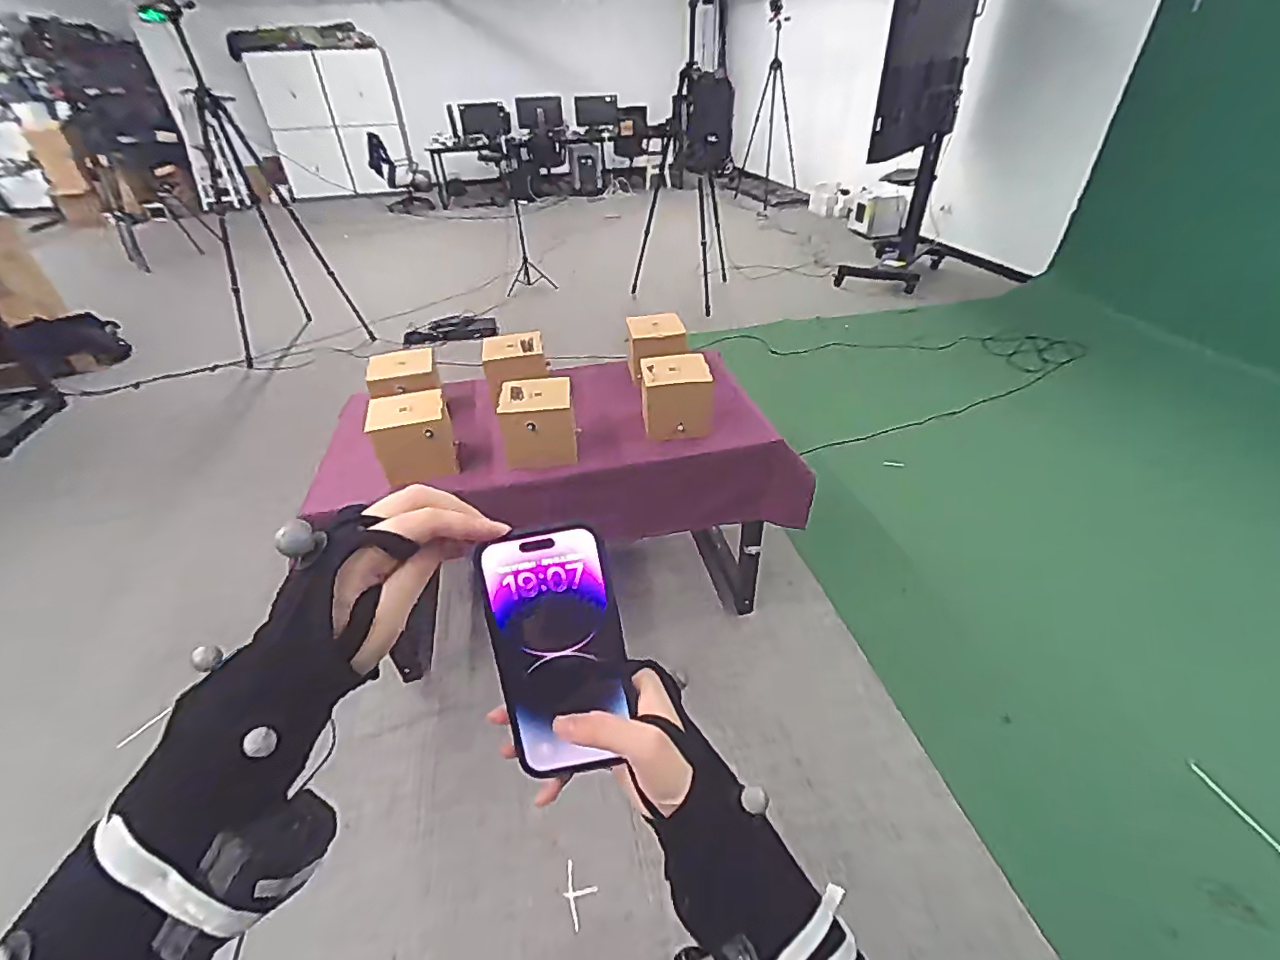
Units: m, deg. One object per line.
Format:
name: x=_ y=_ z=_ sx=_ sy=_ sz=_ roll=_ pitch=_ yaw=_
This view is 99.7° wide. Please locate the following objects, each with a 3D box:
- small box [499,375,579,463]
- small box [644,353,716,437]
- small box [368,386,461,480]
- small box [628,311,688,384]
small box: x=-0.253 y=-0.156 z=1.396 sx=0.179 sy=0.176 sz=0.168 roll=-4 pitch=38 yaw=-4
small box: x=0.102 y=-0.232 z=1.474 sx=0.179 sy=0.176 sz=0.168 roll=-4 pitch=37 yaw=-3
small box: x=-0.562 y=-0.117 z=1.364 sx=0.179 sy=0.176 sz=0.168 roll=-11 pitch=38 yaw=-13
small box: x=0.055 y=-0.421 z=1.719 sx=0.168 sy=0.176 sz=0.179 roll=-7 pitch=39 yaw=-5
